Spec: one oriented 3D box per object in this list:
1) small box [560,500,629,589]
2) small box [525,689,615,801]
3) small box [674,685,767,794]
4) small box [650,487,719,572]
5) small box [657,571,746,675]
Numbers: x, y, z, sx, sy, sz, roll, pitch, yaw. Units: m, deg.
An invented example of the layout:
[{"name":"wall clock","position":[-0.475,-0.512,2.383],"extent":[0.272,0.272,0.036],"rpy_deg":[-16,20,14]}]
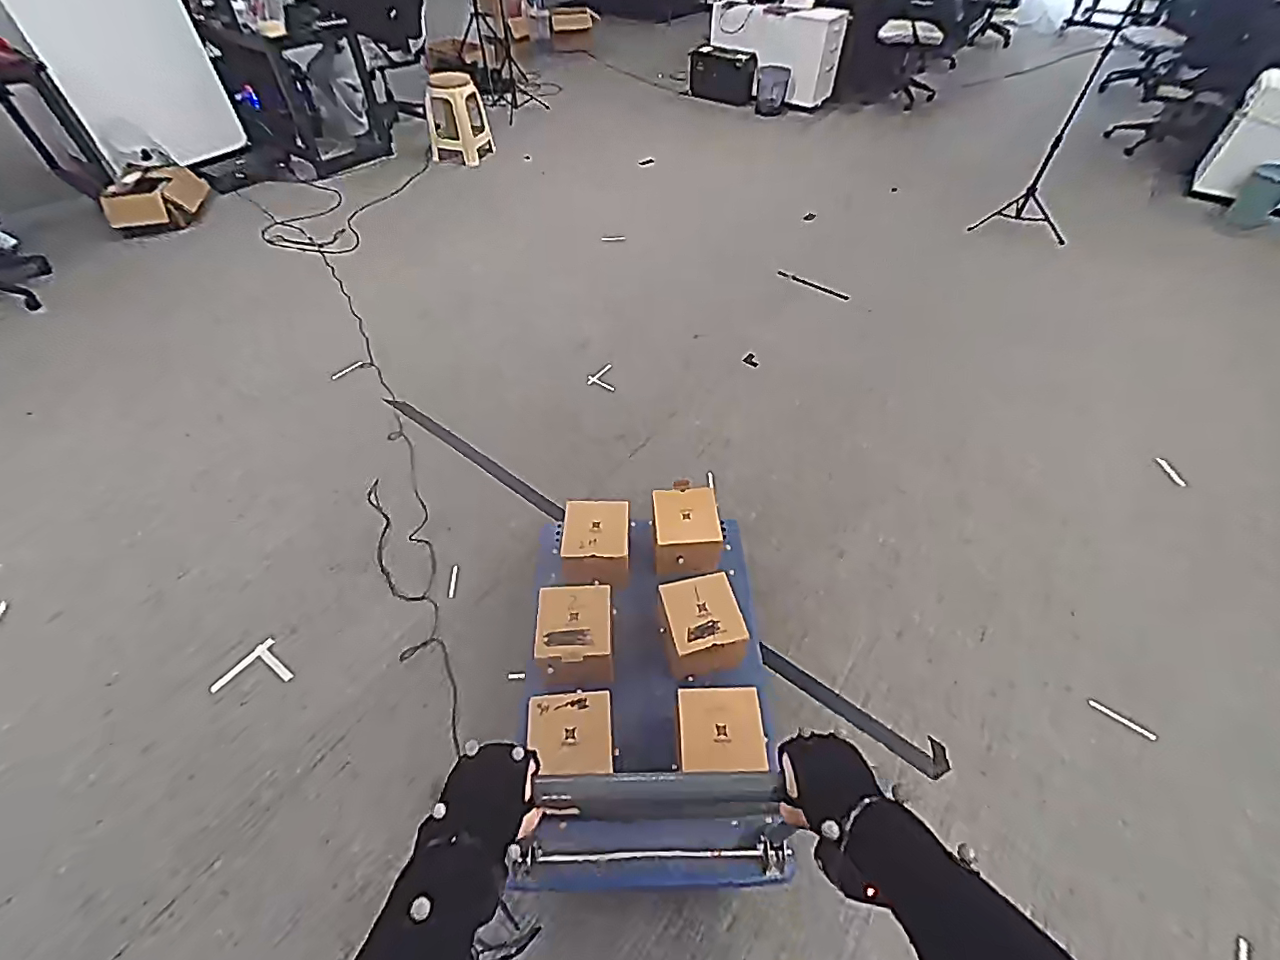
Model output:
[{"name":"small box","position":[-0.114,0.172,1.442],"extent":[0.168,0.176,0.179],"rpy_deg":[0,51,1]},{"name":"small box","position":[-0.138,0.553,1.120],"extent":[0.168,0.176,0.179],"rpy_deg":[-3,50,-4]},{"name":"small box","position":[0.160,0.545,1.129],"extent":[0.168,0.176,0.179],"rpy_deg":[0,49,-1]},{"name":"small box","position":[0.117,0.141,1.470],"extent":[0.168,0.176,0.179],"rpy_deg":[-3,50,-3]},{"name":"small box","position":[0.140,0.348,1.294],"extent":[0.168,0.176,0.179],"rpy_deg":[-10,50,-8]}]
